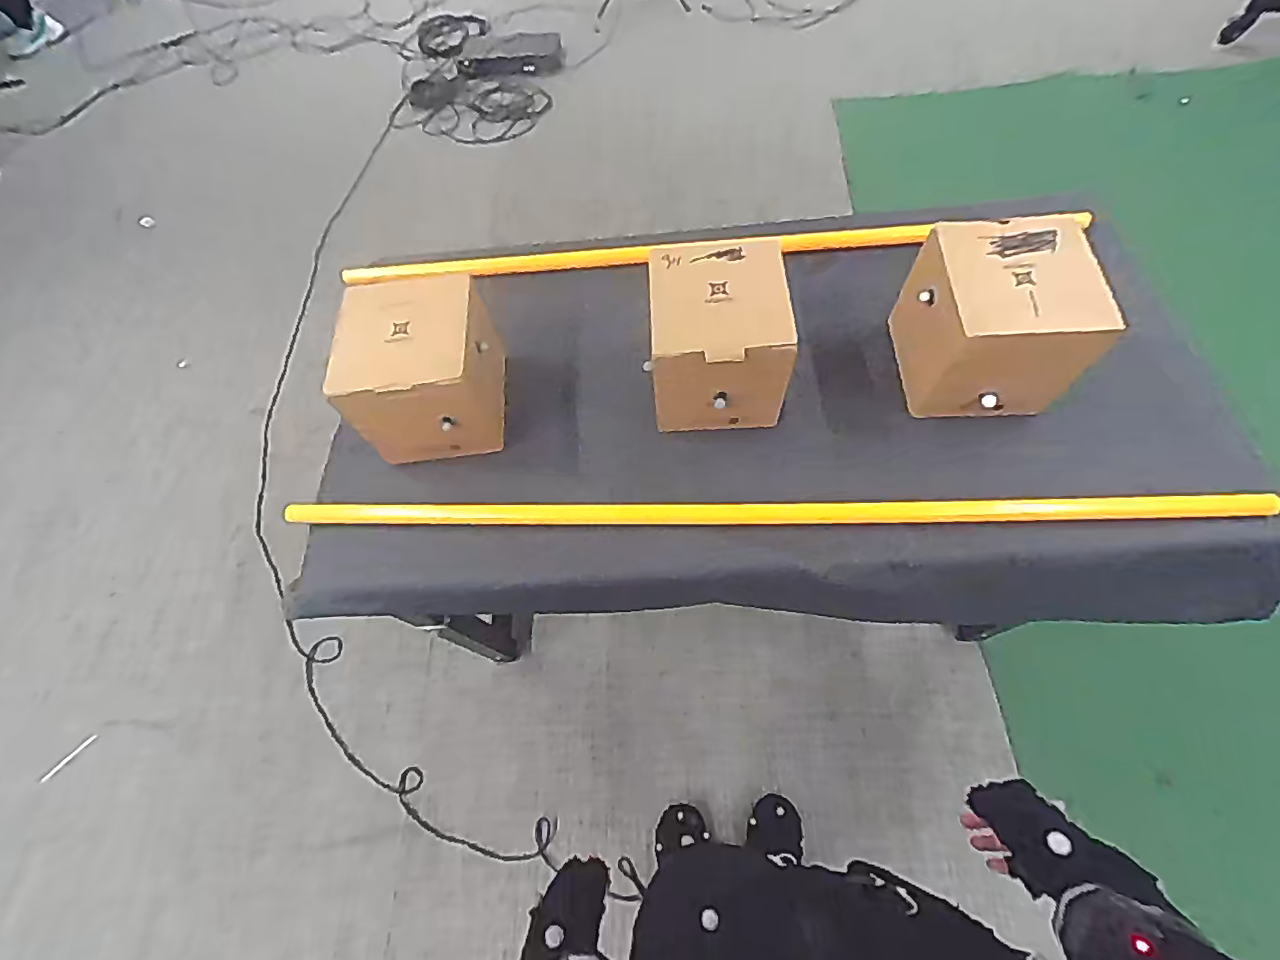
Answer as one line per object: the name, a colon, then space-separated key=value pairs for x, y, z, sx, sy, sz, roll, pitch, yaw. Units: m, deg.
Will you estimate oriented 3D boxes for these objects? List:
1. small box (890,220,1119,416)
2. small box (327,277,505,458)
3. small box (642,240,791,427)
small box: x=0.441 y=-0.201 z=0.693 sx=0.168 sy=0.176 sz=0.179 roll=-1 pitch=64 yaw=5
small box: x=-0.286 y=-0.142 z=0.736 sx=0.168 sy=0.176 sz=0.179 roll=-7 pitch=61 yaw=0
small box: x=0.097 y=-0.183 z=0.722 sx=0.168 sy=0.176 sz=0.179 roll=-6 pitch=62 yaw=4
